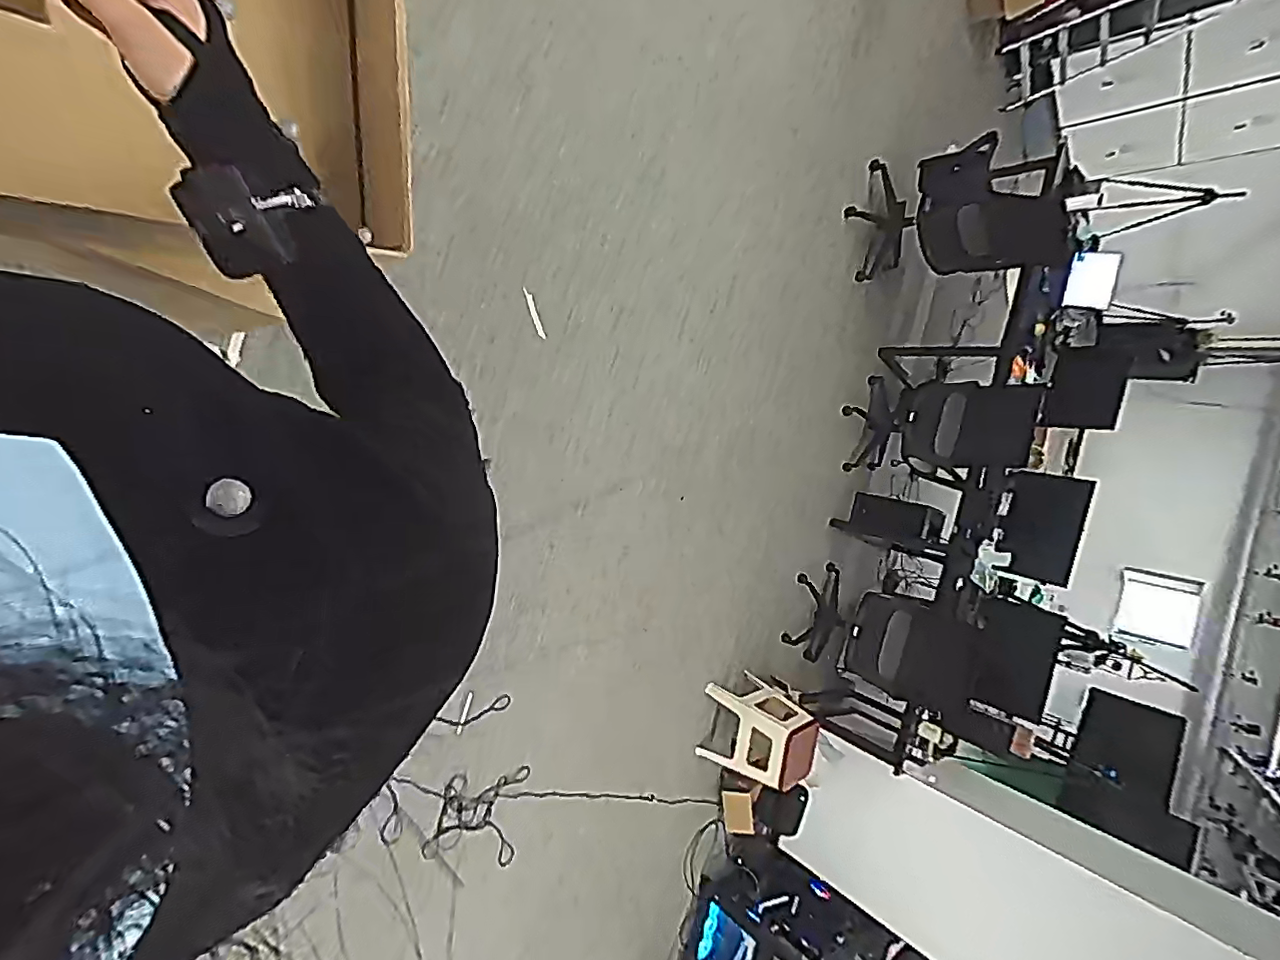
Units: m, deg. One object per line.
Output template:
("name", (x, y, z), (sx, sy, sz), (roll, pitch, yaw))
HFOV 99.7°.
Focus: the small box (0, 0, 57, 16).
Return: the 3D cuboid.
("small box", (-0.427, -0.365, 0.266), (0.179, 0.176, 0.168), (-9, 122, -42))
